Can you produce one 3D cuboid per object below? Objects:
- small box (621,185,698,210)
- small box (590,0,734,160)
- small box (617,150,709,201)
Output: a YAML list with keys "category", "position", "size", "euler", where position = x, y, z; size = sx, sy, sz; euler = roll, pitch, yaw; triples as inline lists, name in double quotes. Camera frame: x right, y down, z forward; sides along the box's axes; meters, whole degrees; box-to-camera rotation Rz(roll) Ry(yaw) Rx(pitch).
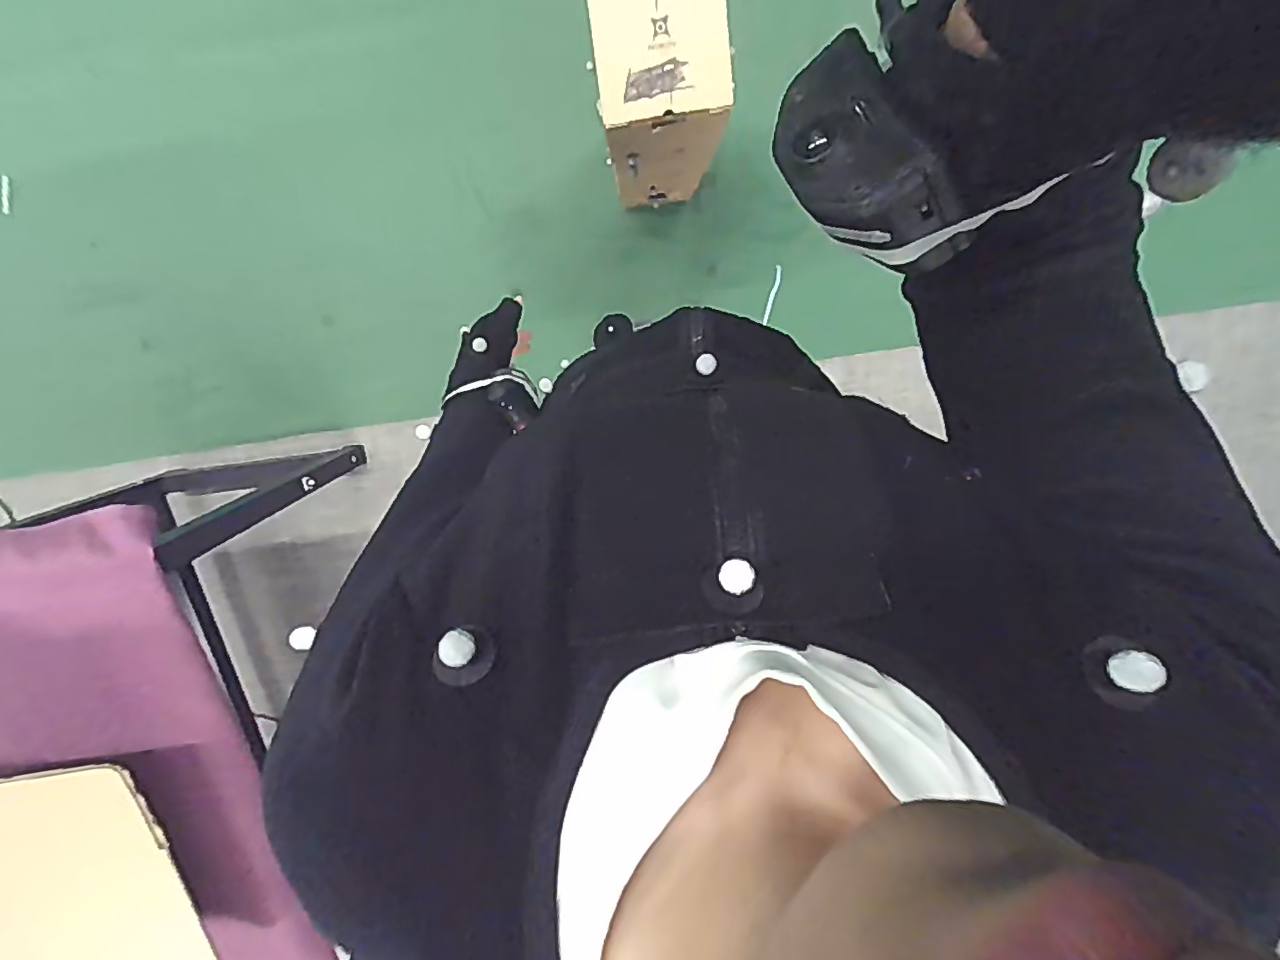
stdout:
- category: "small box"
  position: [0.037, -0.717, 1.198]
  size: [0.168, 0.176, 0.179]
  euler: [-5, 107, 3]
- category: "small box"
  position: [0.030, -0.555, 0.733]
  size: [0.168, 0.176, 0.179]
  euler: [-7, 106, 3]
- category: "small box"
  position: [0.035, -0.662, 1.045]
  size: [0.168, 0.176, 0.179]
  euler: [-8, 108, 3]
